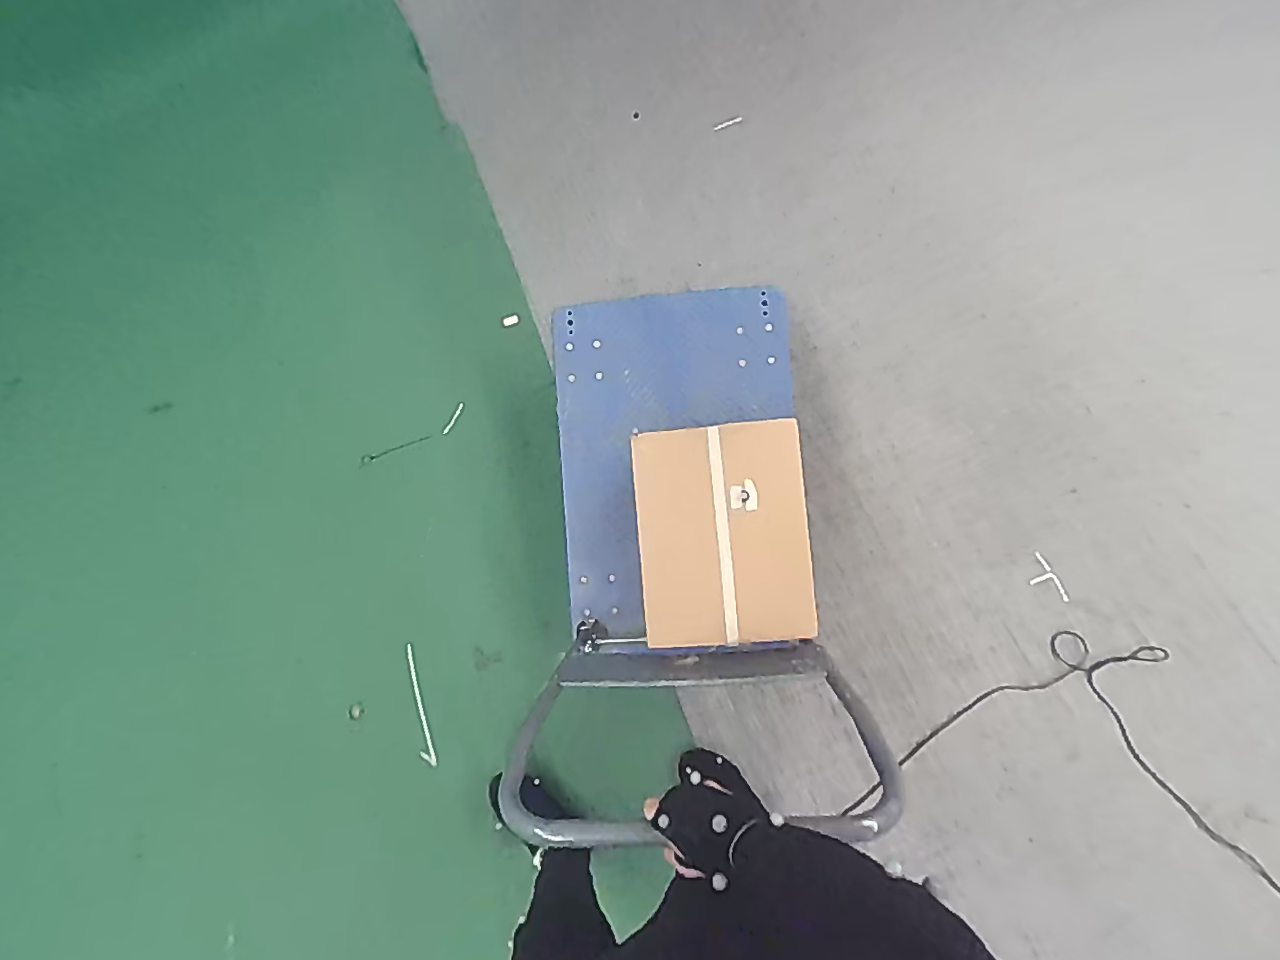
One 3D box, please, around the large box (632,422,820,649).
[{"bbox_3d":[0.171,0.114,1.158,0.320,0.320,0.408,-6,86,4],"label":"large box"}]
